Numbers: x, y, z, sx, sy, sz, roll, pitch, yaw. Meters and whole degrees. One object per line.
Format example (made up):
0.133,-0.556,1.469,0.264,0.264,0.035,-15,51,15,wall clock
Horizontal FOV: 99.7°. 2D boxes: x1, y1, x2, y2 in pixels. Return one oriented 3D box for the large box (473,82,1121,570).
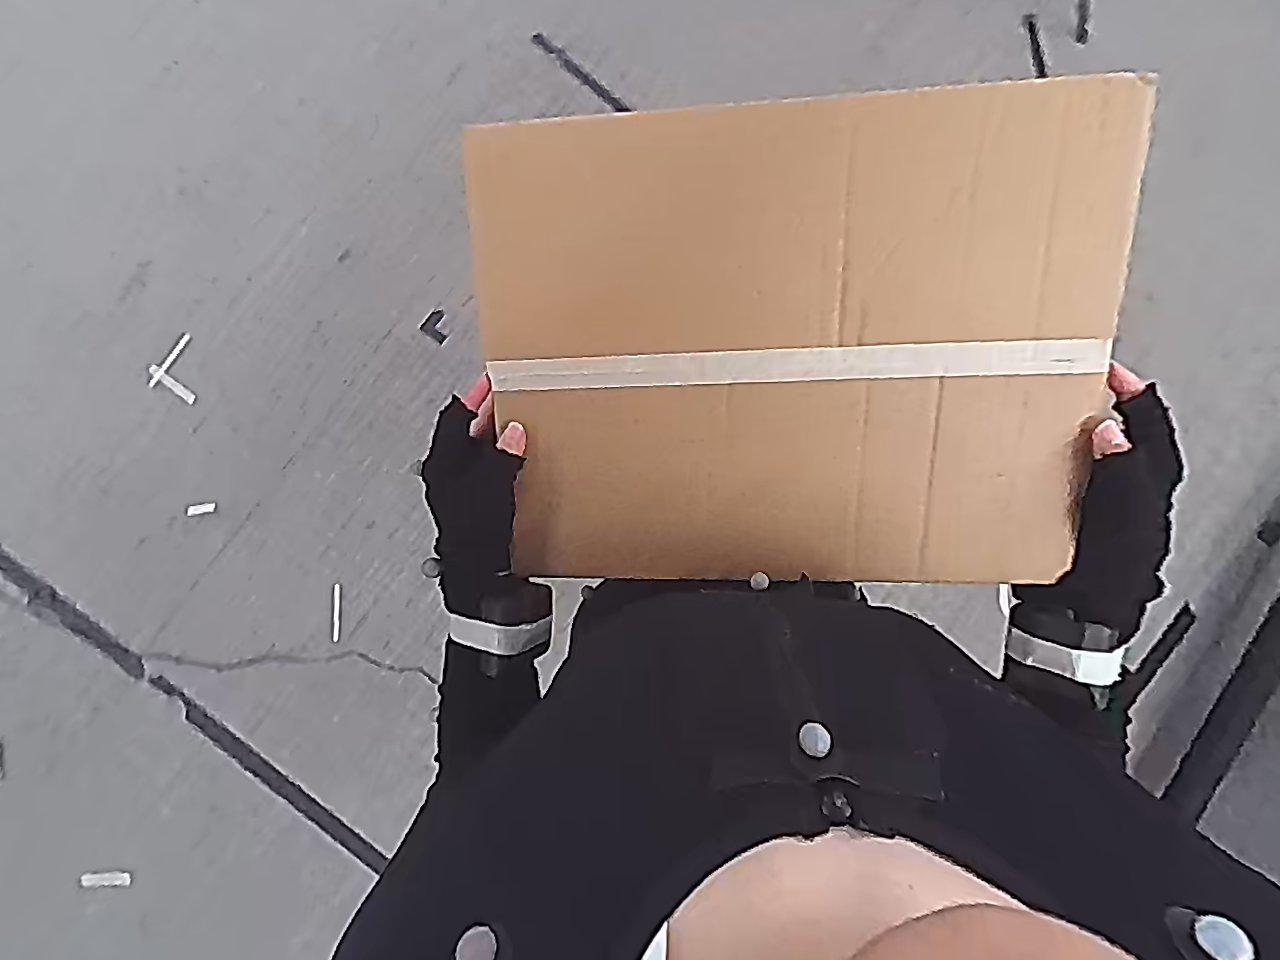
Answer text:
0.105,-0.119,0.517,0.408,0.320,0.320,-1,106,6,large box
